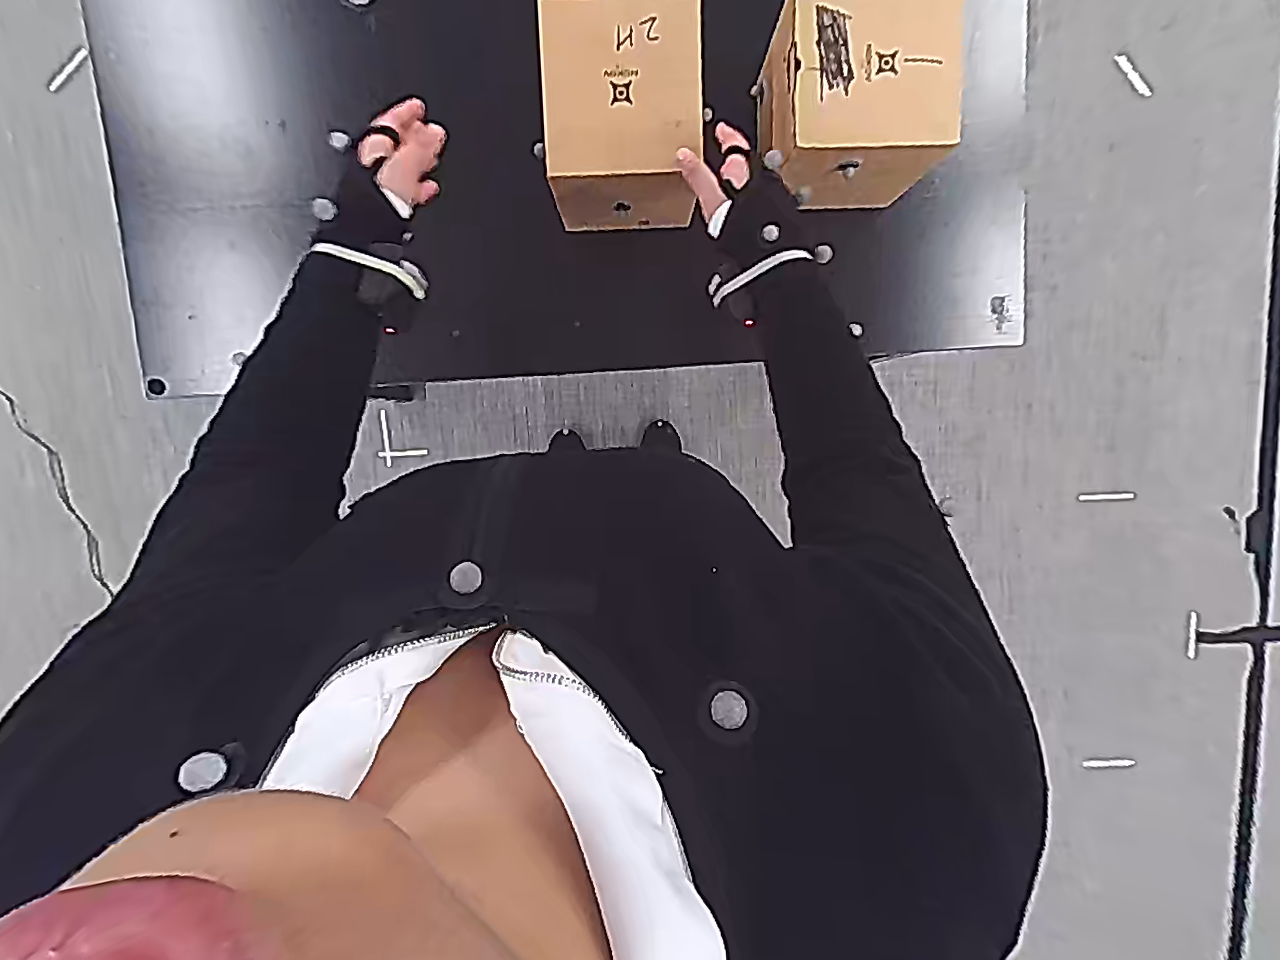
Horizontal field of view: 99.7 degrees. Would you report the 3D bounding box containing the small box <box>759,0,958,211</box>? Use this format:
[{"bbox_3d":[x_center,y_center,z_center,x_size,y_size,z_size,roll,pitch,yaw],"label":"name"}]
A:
[{"bbox_3d":[0.243,-0.436,0.644,0.179,0.176,0.168,-1,96,-1],"label":"small box"}]

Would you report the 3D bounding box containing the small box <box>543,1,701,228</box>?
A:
[{"bbox_3d":[-0.017,-0.414,0.645,0.168,0.176,0.179,-2,96,-1],"label":"small box"}]
